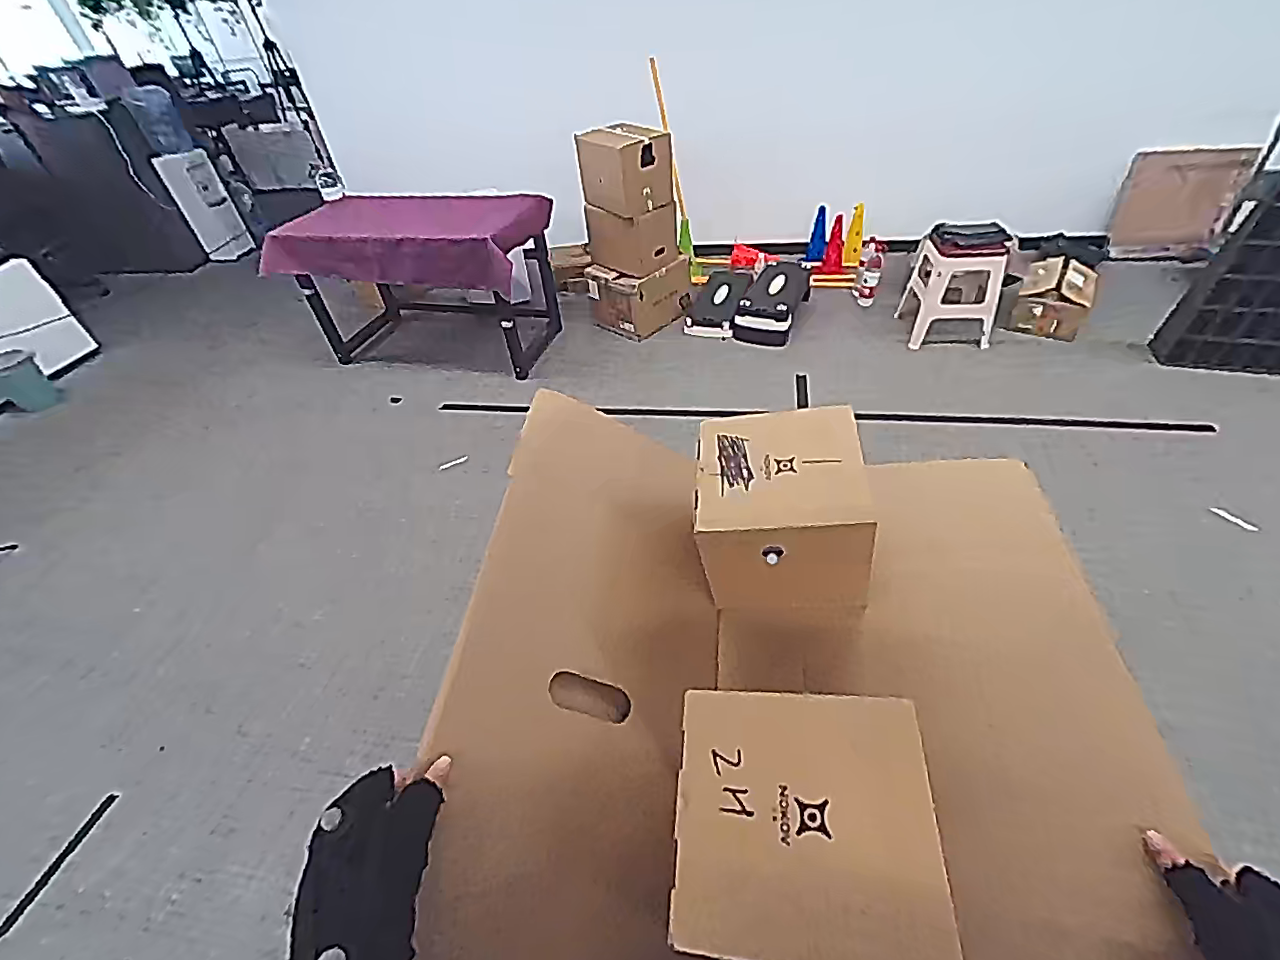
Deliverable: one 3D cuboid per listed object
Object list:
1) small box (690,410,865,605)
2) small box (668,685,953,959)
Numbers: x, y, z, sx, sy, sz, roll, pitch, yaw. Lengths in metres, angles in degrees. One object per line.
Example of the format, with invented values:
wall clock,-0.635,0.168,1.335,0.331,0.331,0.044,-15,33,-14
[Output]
small box,0.164,0.040,0.651,0.179,0.176,0.168,-5,49,14
small box,0.131,0.284,0.448,0.179,0.176,0.168,-4,49,16
